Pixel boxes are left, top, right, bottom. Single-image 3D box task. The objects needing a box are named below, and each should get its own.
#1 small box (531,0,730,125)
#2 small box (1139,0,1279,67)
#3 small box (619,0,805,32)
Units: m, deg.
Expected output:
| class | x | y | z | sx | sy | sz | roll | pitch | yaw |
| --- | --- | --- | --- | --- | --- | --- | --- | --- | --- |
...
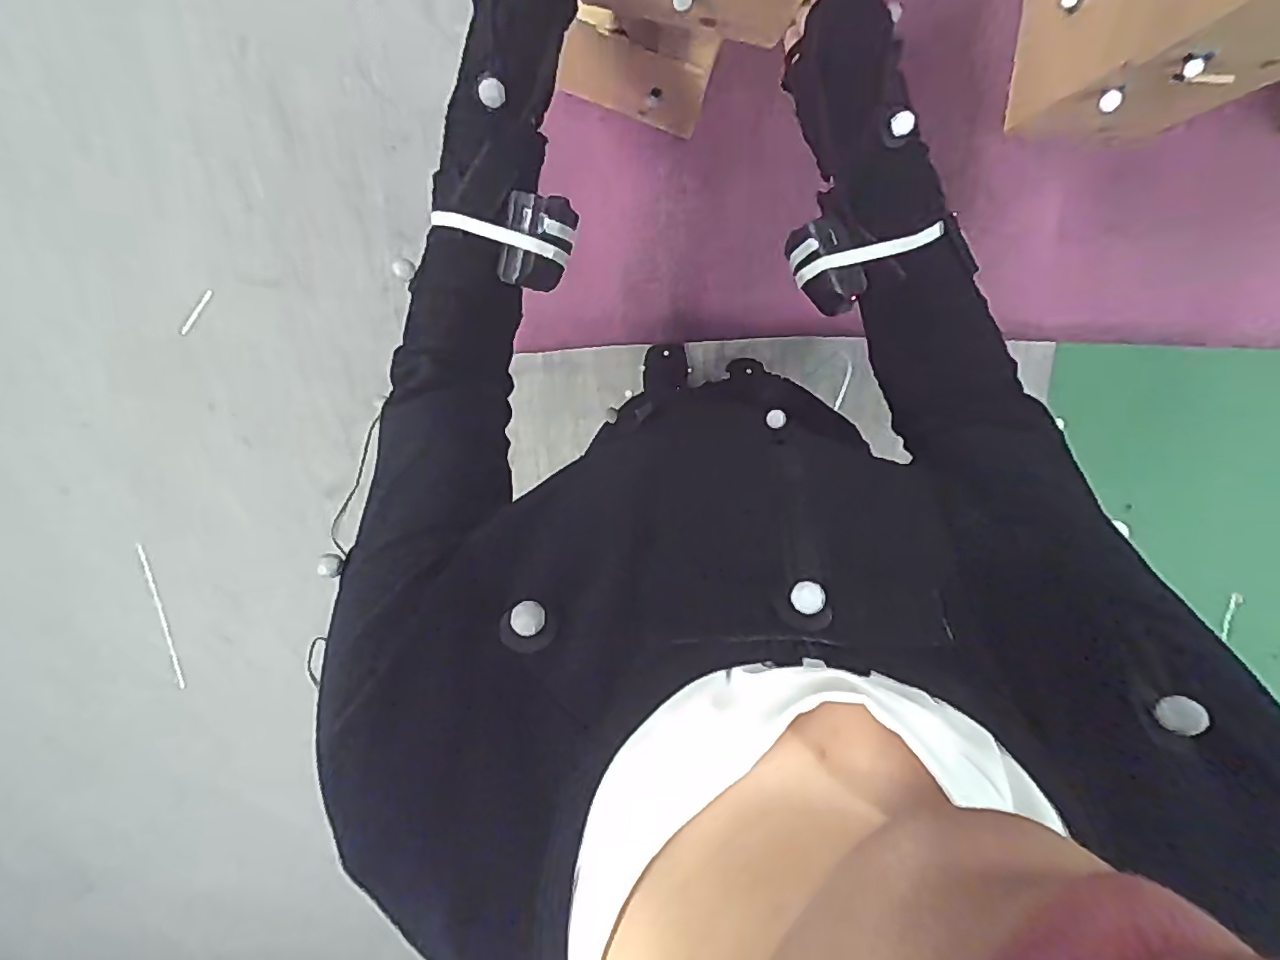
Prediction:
| class | x | y | z | sx | sy | sz | roll | pitch | yaw |
| --- | --- | --- | --- | --- | --- | --- | --- | --- | --- |
| small box | 0.012 | -0.477 | 0.509 | 0.168 | 0.176 | 0.179 | 18 | 104 | -6 |
| small box | 0.508 | -0.420 | 0.374 | 0.168 | 0.176 | 0.179 | 0 | 103 | 0 |
| small box | 0.052 | -0.419 | 0.333 | 0.168 | 0.176 | 0.179 | 7 | 111 | -2 |
